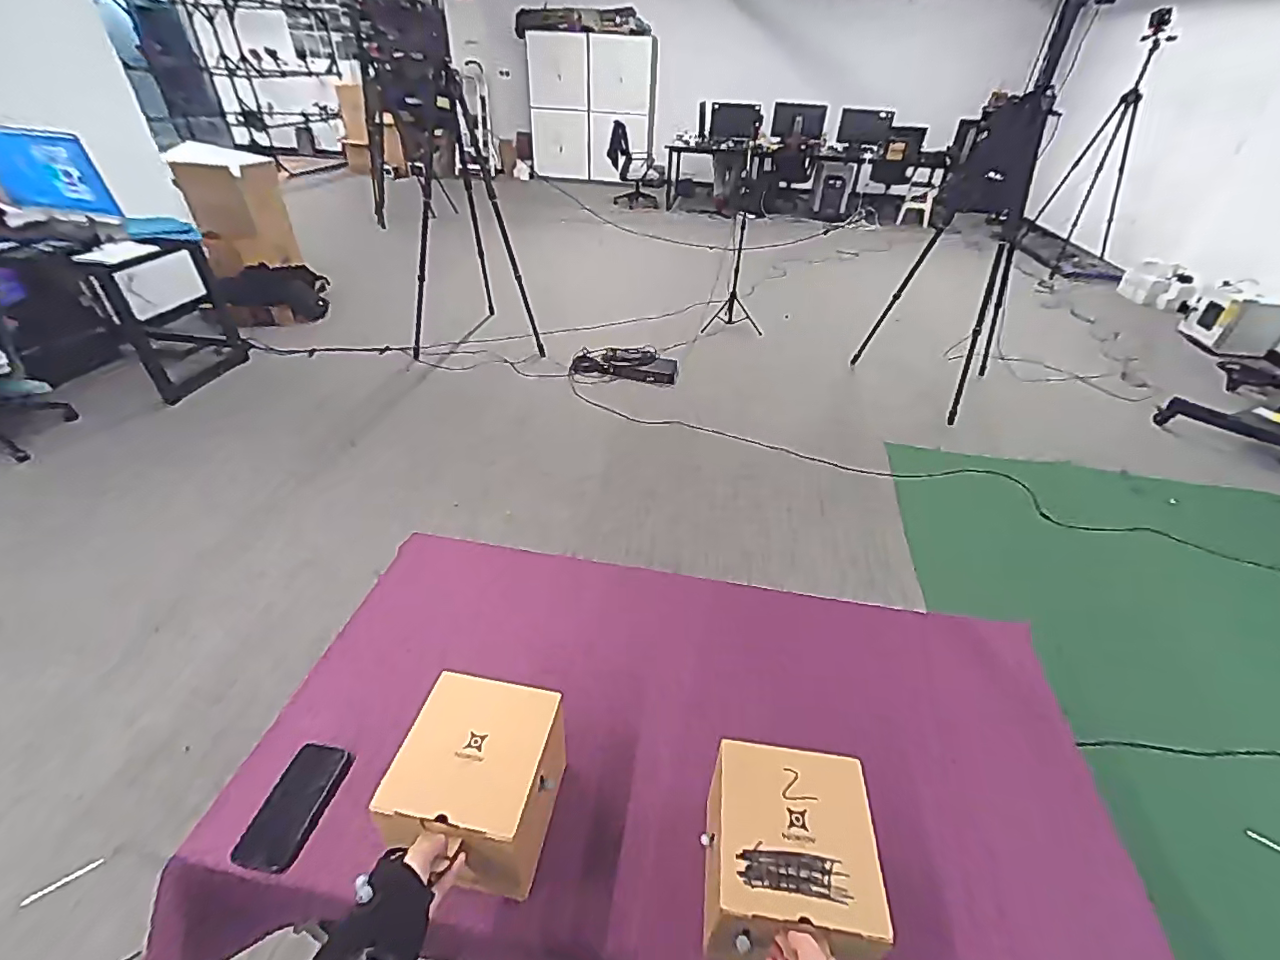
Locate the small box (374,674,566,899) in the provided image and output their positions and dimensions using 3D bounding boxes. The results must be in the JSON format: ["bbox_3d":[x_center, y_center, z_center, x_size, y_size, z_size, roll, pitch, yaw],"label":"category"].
[{"bbox_3d":[-0.198,0.382,0.682,0.168,0.176,0.179,9,37,7],"label":"small box"}]
